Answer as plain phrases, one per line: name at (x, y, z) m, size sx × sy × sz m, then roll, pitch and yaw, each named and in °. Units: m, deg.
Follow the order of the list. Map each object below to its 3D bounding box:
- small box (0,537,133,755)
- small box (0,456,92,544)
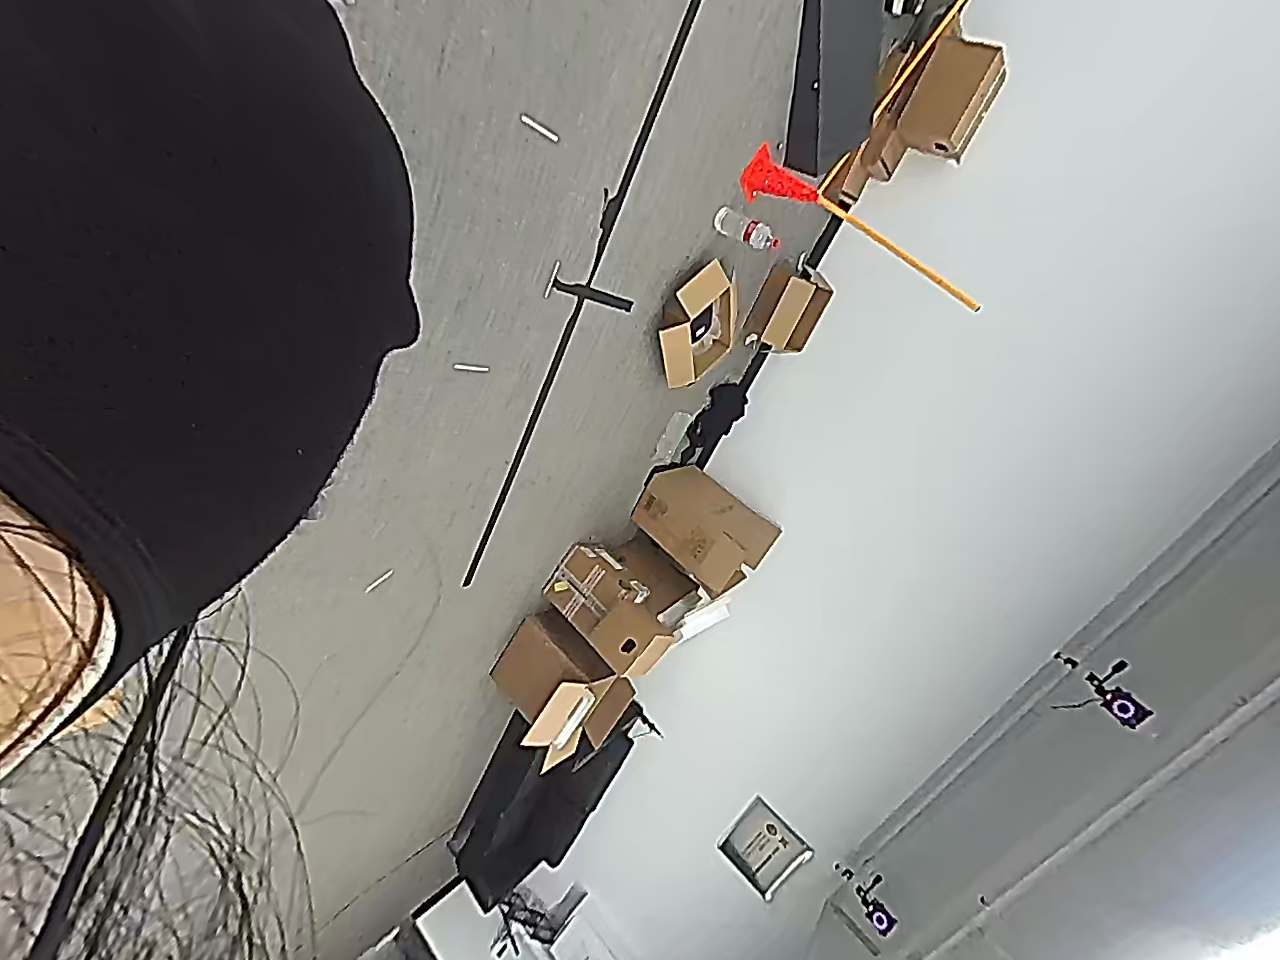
small box at (-0.706, 0.180, 0.602) m, size 0.168 × 0.176 × 0.179 m, roll -10°, pitch 134°, yaw -55°
small box at (-0.823, 0.089, 0.671) m, size 0.168 × 0.176 × 0.179 m, roll -8°, pitch 132°, yaw -56°
